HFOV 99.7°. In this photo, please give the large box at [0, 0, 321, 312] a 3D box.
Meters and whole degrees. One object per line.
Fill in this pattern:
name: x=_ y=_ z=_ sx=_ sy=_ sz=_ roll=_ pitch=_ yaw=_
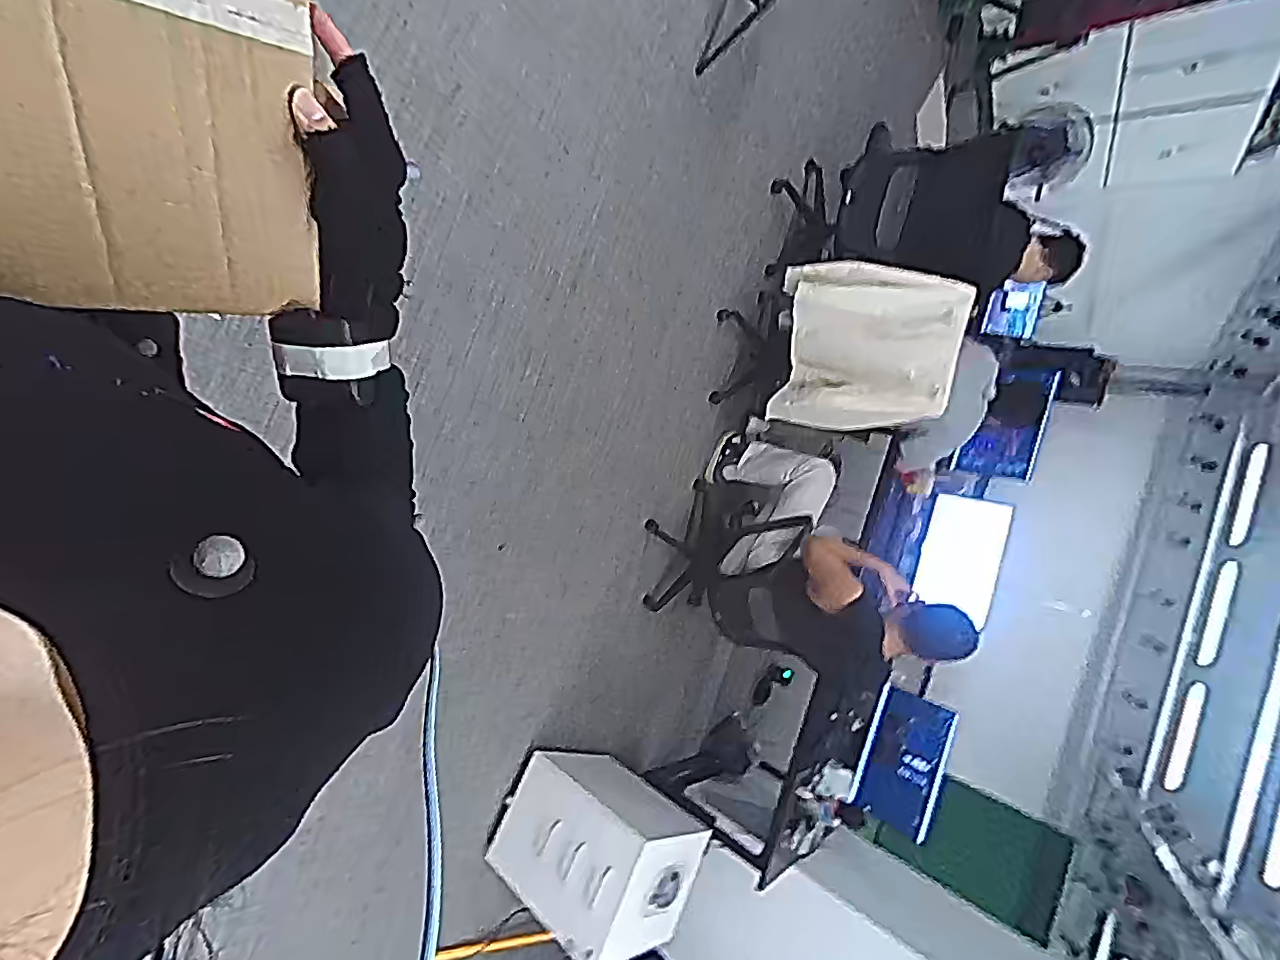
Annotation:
large box: x=-0.431 y=-0.290 z=0.266 sx=0.408 sy=0.320 sz=0.320 roll=-13 pitch=132 yaw=-40
